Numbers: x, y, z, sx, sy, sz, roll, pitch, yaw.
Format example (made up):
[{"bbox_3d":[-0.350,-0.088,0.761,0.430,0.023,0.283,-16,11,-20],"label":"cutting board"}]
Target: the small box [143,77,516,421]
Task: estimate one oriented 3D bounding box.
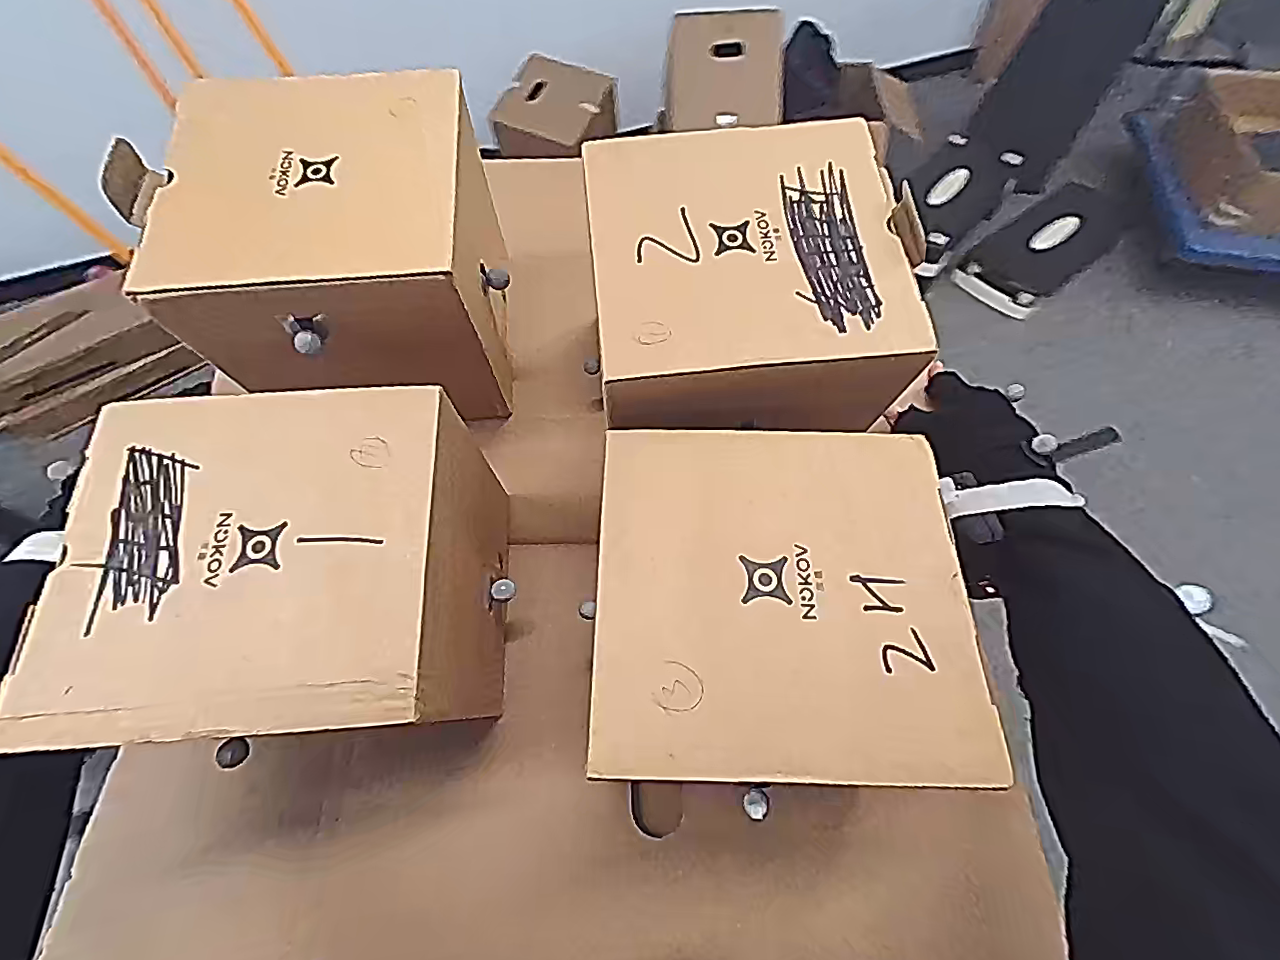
[{"bbox_3d":[-0.193,-0.155,0.401,0.179,0.176,0.168,-4,69,-1],"label":"small box"}]
